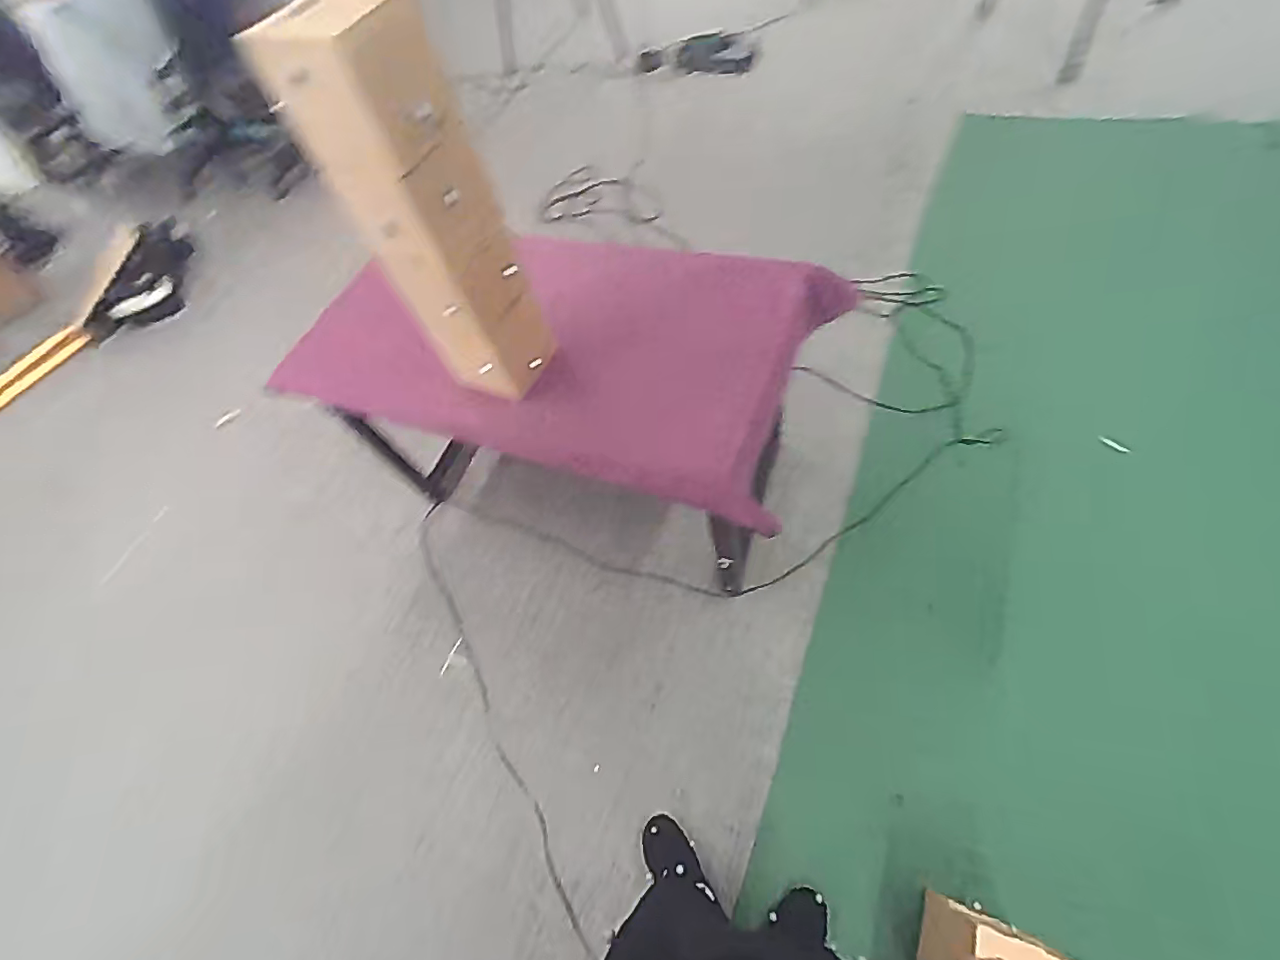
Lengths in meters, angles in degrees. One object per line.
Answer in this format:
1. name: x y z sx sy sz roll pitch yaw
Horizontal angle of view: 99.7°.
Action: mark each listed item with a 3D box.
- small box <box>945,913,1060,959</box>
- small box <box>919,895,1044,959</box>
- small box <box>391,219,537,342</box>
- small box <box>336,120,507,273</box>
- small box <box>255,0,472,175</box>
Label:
1. small box: 0.636 0.891 0.928 0.168 0.176 0.179 13 63 19
2. small box: 0.667 0.967 1.069 0.168 0.176 0.179 16 64 20
3. small box: -0.328 -0.392 1.046 0.179 0.176 0.168 20 65 22
4. small box: -0.353 -0.480 0.911 0.168 0.176 0.179 20 66 21
5. small box: -0.380 -0.565 0.773 0.179 0.176 0.168 18 64 20
